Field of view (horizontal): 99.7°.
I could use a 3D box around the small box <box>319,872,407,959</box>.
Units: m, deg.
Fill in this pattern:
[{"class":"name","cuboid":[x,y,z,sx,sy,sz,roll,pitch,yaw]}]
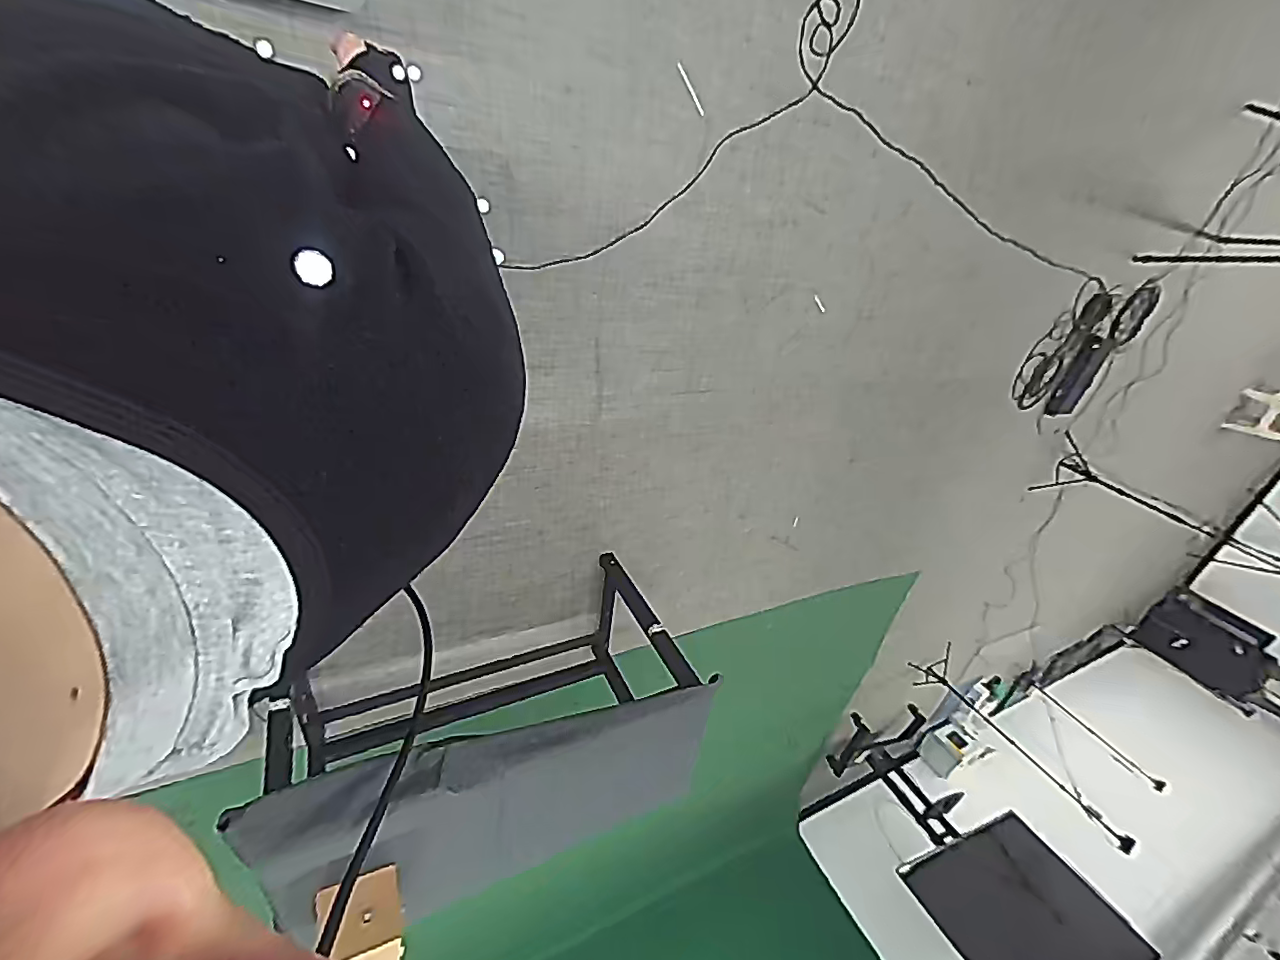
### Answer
[{"class":"small box","cuboid":[-0.679,1.108,1.320,0.179,0.176,0.168,-3,121,-31]}]
